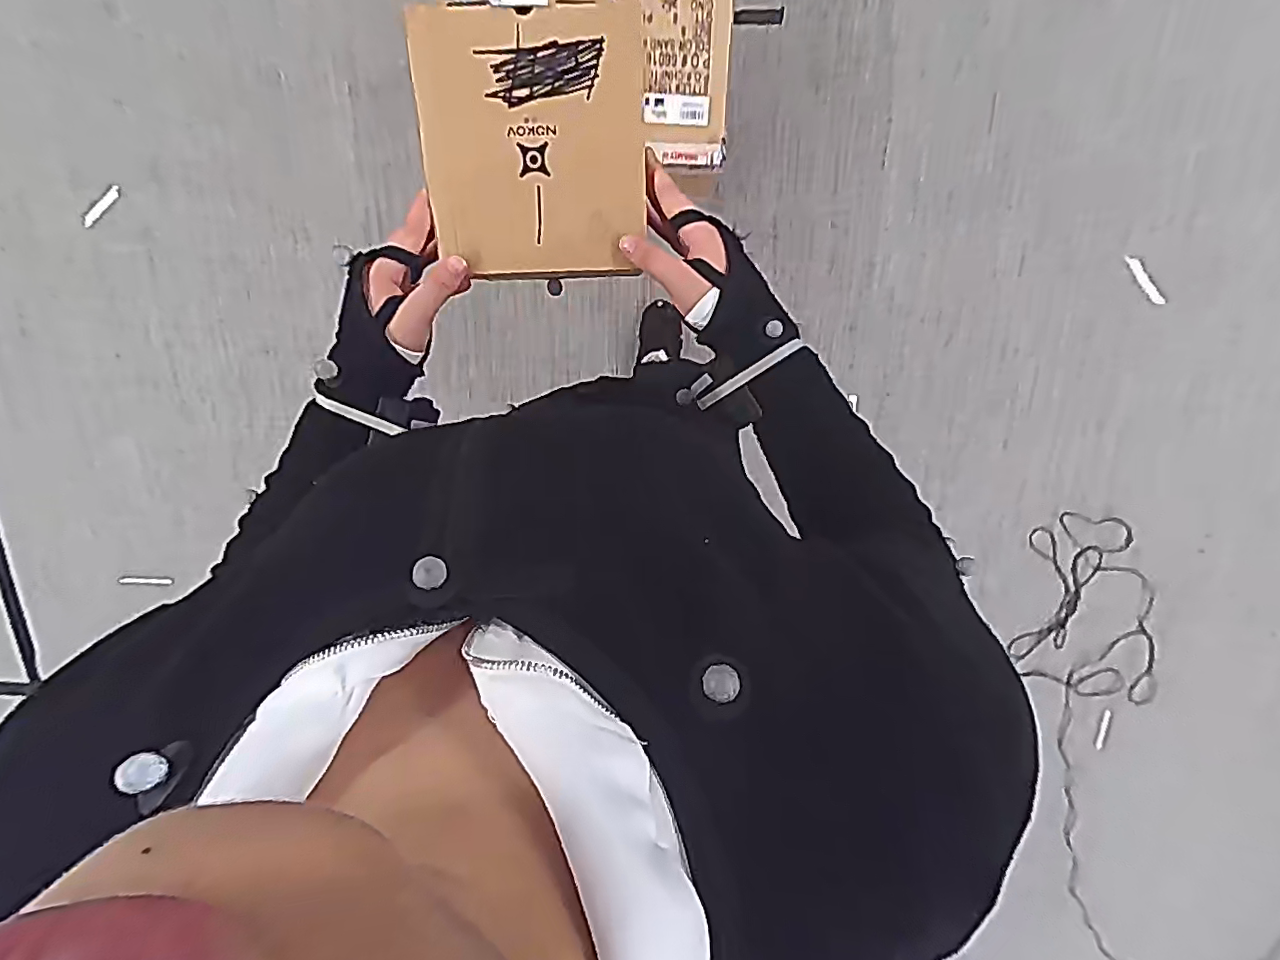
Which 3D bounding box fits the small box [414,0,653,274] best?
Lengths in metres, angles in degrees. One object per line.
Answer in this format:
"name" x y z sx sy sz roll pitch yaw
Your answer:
"small box" -0.076 -0.281 0.477 0.168 0.176 0.179 -3 110 -1
